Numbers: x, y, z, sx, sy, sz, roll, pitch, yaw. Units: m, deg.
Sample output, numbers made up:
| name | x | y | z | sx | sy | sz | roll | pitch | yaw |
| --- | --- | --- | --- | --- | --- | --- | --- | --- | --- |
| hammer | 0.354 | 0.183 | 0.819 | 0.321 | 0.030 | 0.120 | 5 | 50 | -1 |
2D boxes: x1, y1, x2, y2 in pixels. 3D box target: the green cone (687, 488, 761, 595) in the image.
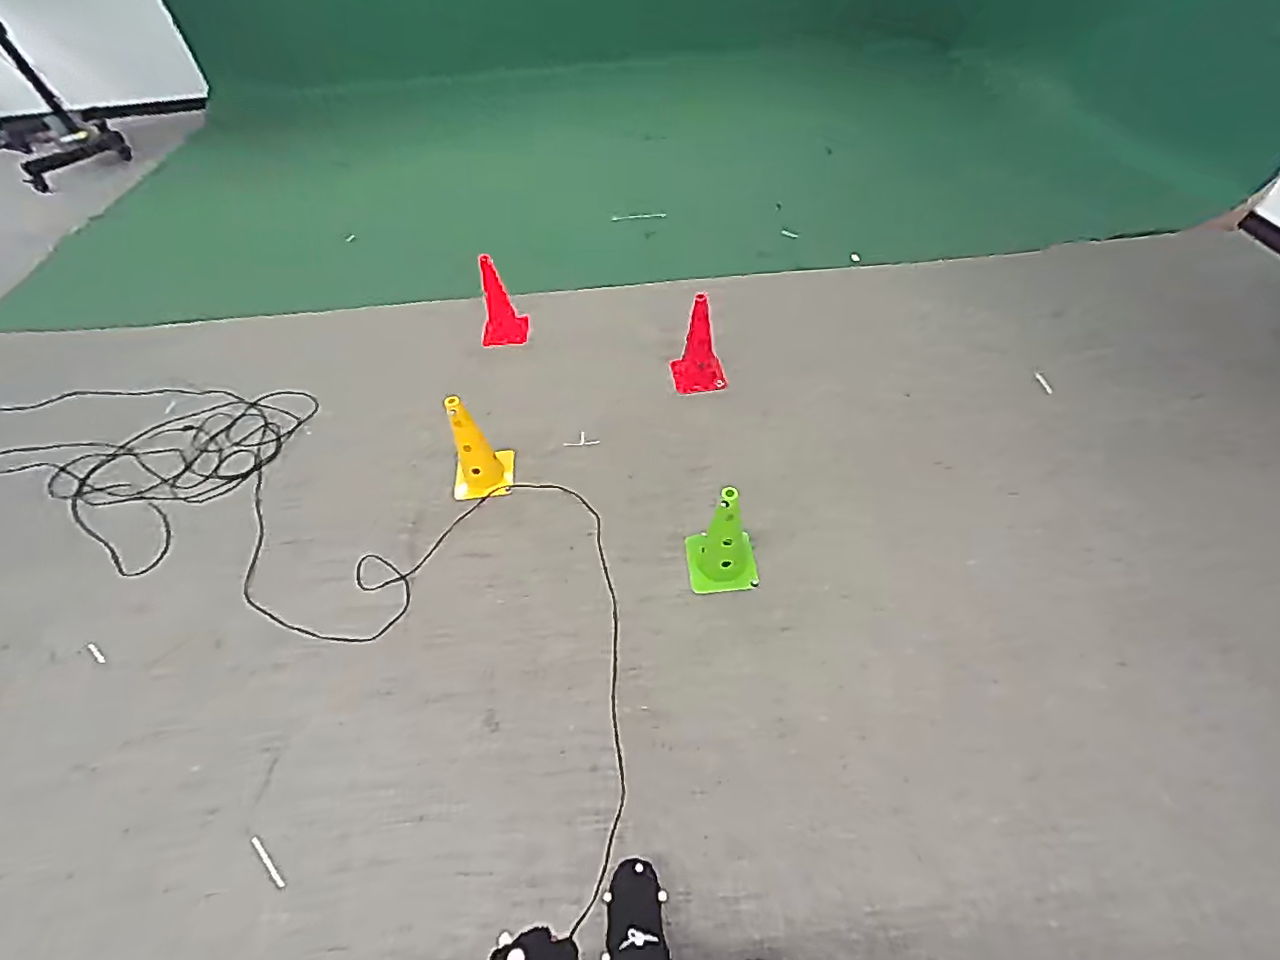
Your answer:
| name | x | y | z | sx | sy | sz | roll | pitch | yaw |
| --- | --- | --- | --- | --- | --- | --- | --- | --- | --- |
| green cone | 0.238 | 0.143 | 1.509 | 0.202 | 0.368 | 0.200 | -7 | 51 | 1 |

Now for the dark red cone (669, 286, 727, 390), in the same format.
| name | x | y | z | sx | sy | sz | roll | pitch | yaw |
| --- | --- | --- | --- | --- | --- | --- | --- | --- | --- |
| dark red cone | 0.217 | -0.536 | 2.015 | 0.202 | 0.394 | 0.201 | -9 | 50 | -3 |

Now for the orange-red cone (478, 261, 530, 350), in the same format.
| name | x | y | z | sx | sy | sz | roll | pitch | yaw |
| --- | --- | --- | --- | --- | --- | --- | --- | --- | --- |
| orange-red cone | -0.608 | -0.752 | 2.282 | 0.198 | 0.360 | 0.199 | -5 | 53 | 2 |
